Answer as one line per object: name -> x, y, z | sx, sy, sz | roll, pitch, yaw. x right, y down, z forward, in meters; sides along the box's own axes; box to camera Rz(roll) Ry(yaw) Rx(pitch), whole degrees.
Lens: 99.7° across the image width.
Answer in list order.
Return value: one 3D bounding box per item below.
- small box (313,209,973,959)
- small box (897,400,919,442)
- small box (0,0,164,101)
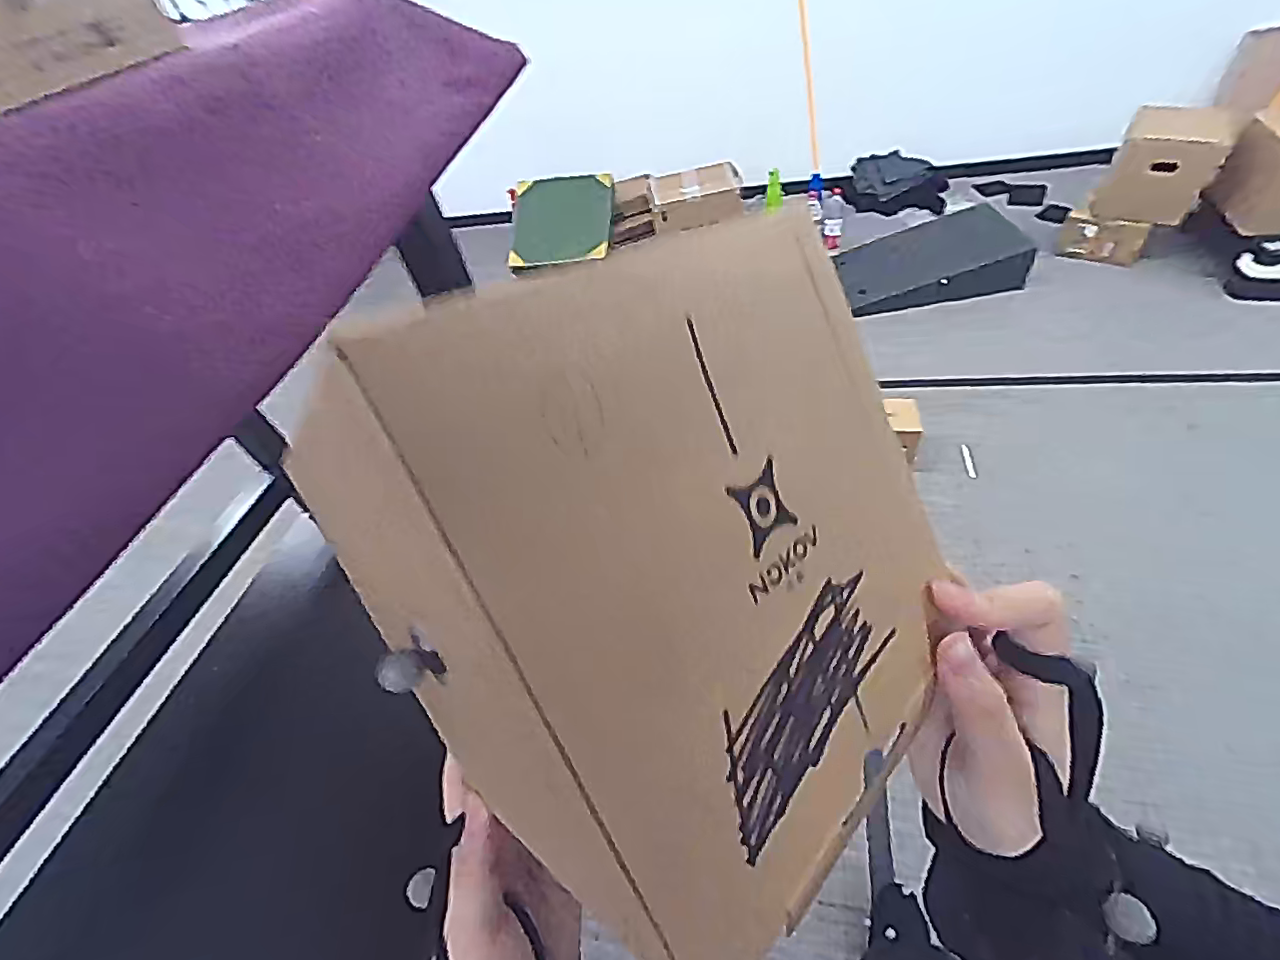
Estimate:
small box -> -0.006, 0.025, 0.223 | 0.168, 0.179, 0.176 | -30, 9, -35
small box -> 0.845, -0.162, 1.881 | 0.179, 0.176, 0.168 | 1, 49, 13
small box -> -0.470, -0.331, 0.328 | 0.179, 0.176, 0.168 | 4, 50, 16
